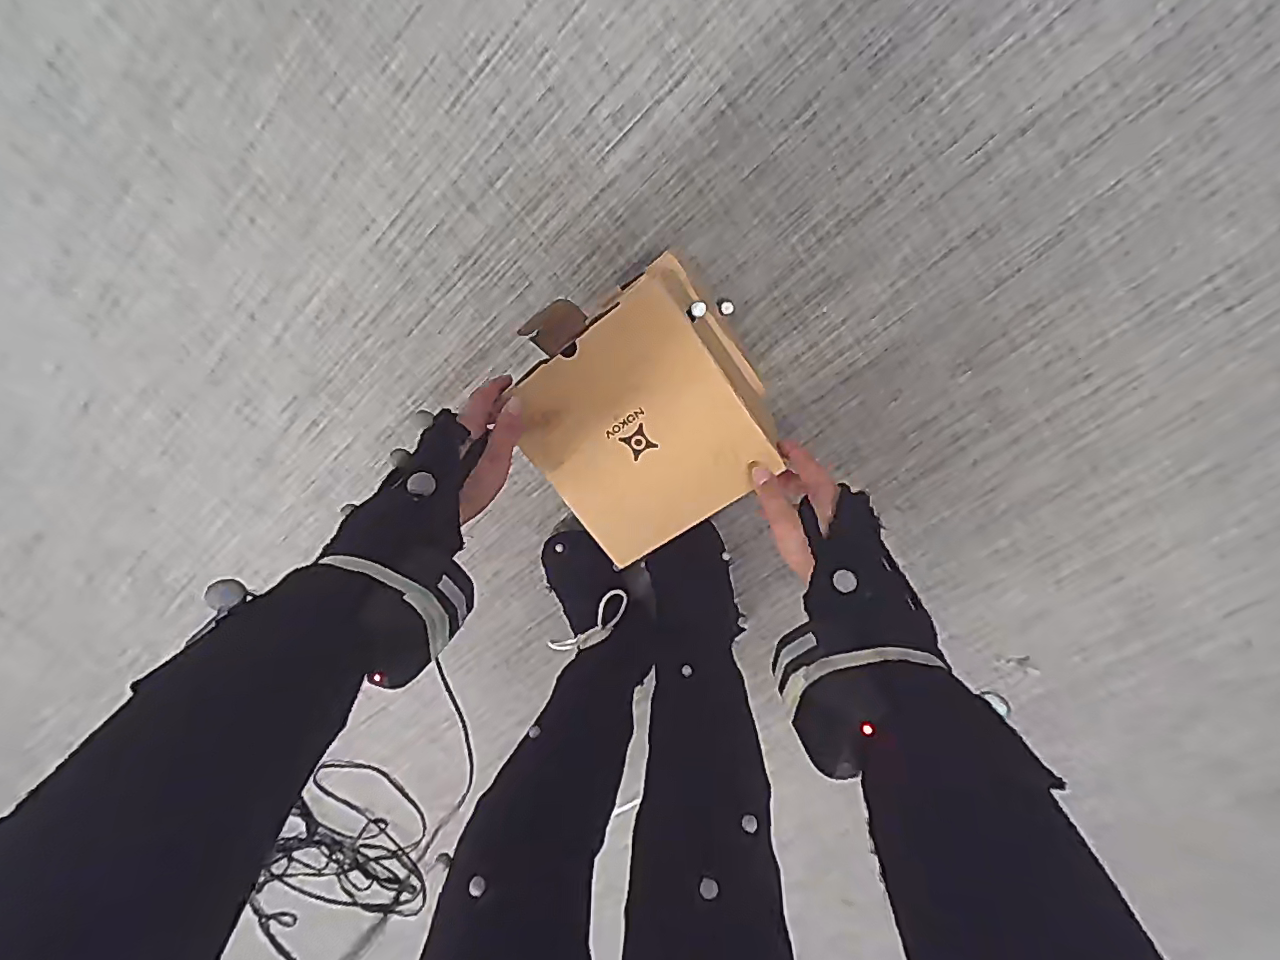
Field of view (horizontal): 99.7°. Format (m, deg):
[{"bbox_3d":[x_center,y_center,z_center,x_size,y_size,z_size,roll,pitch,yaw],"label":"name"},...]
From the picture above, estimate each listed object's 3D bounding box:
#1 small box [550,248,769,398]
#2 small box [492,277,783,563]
[{"bbox_3d":[0.027,-0.141,0.633,0.168,0.176,0.179,-34,103,18],"label":"small box"},{"bbox_3d":[0.008,-0.064,0.490,0.168,0.176,0.179,-33,104,19],"label":"small box"}]
